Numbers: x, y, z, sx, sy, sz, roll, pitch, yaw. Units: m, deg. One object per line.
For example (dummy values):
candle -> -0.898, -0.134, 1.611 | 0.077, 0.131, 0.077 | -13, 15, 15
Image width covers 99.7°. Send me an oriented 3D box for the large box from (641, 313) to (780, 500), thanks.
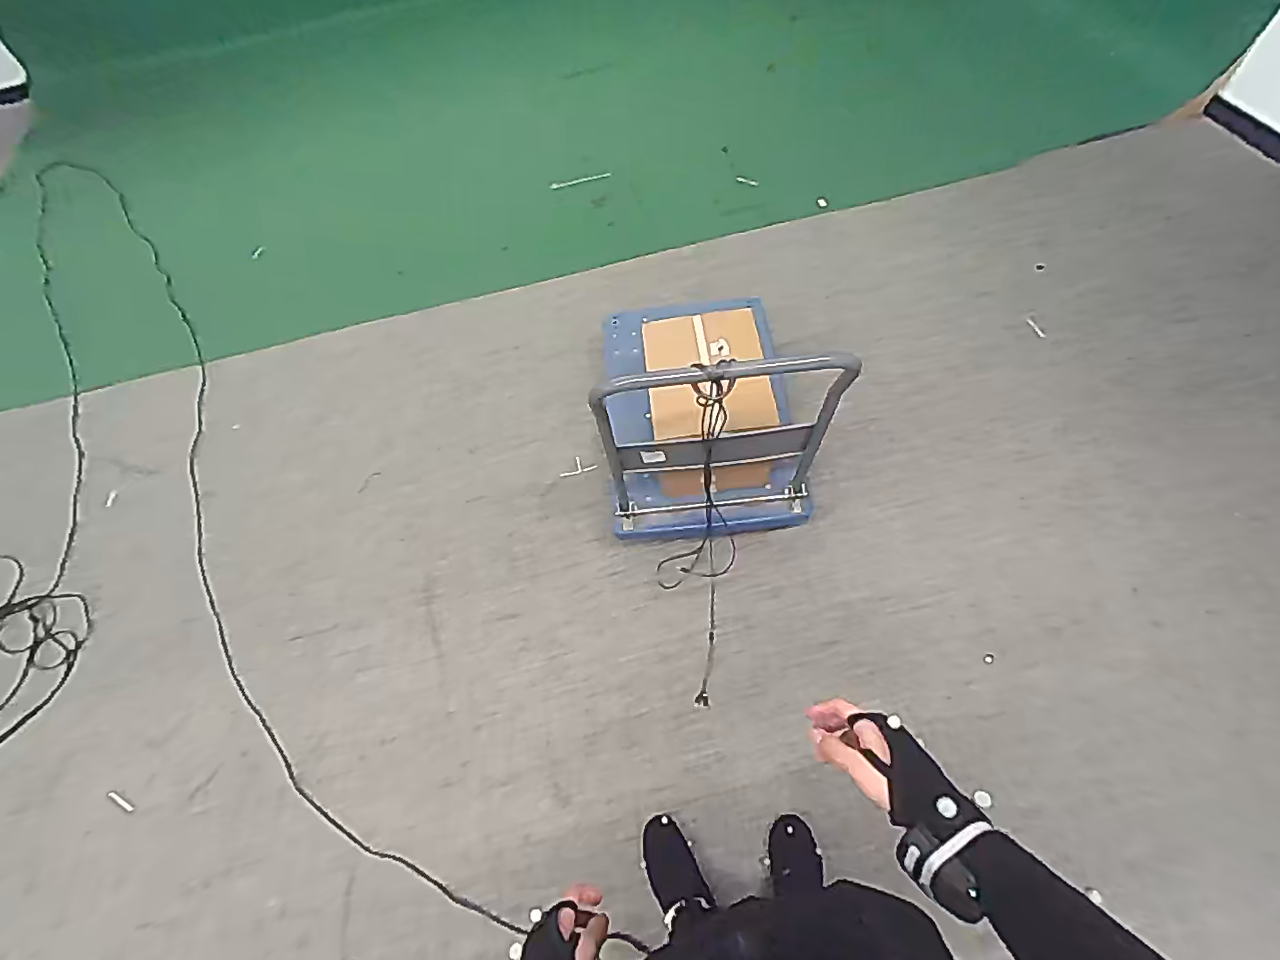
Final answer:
large box -> 0.188, -0.201, 1.540 | 0.320, 0.320, 0.408 | -7, 60, 2
